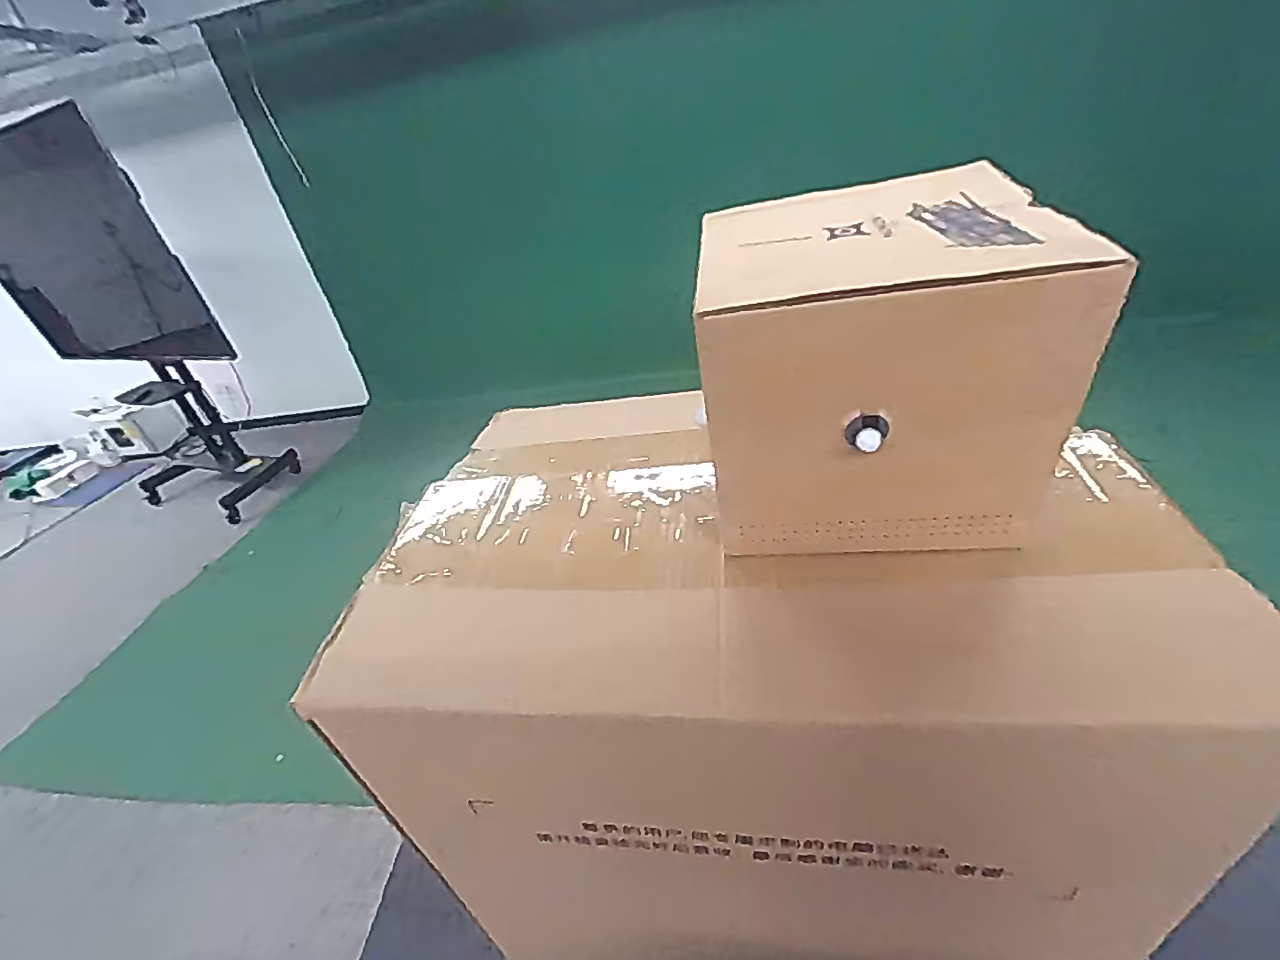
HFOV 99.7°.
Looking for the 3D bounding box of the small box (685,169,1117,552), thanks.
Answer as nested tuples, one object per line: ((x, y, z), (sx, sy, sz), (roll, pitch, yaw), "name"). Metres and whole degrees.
((0.130, -0.069, 0.340), (0.179, 0.176, 0.168), (-4, 40, 13), "small box")
